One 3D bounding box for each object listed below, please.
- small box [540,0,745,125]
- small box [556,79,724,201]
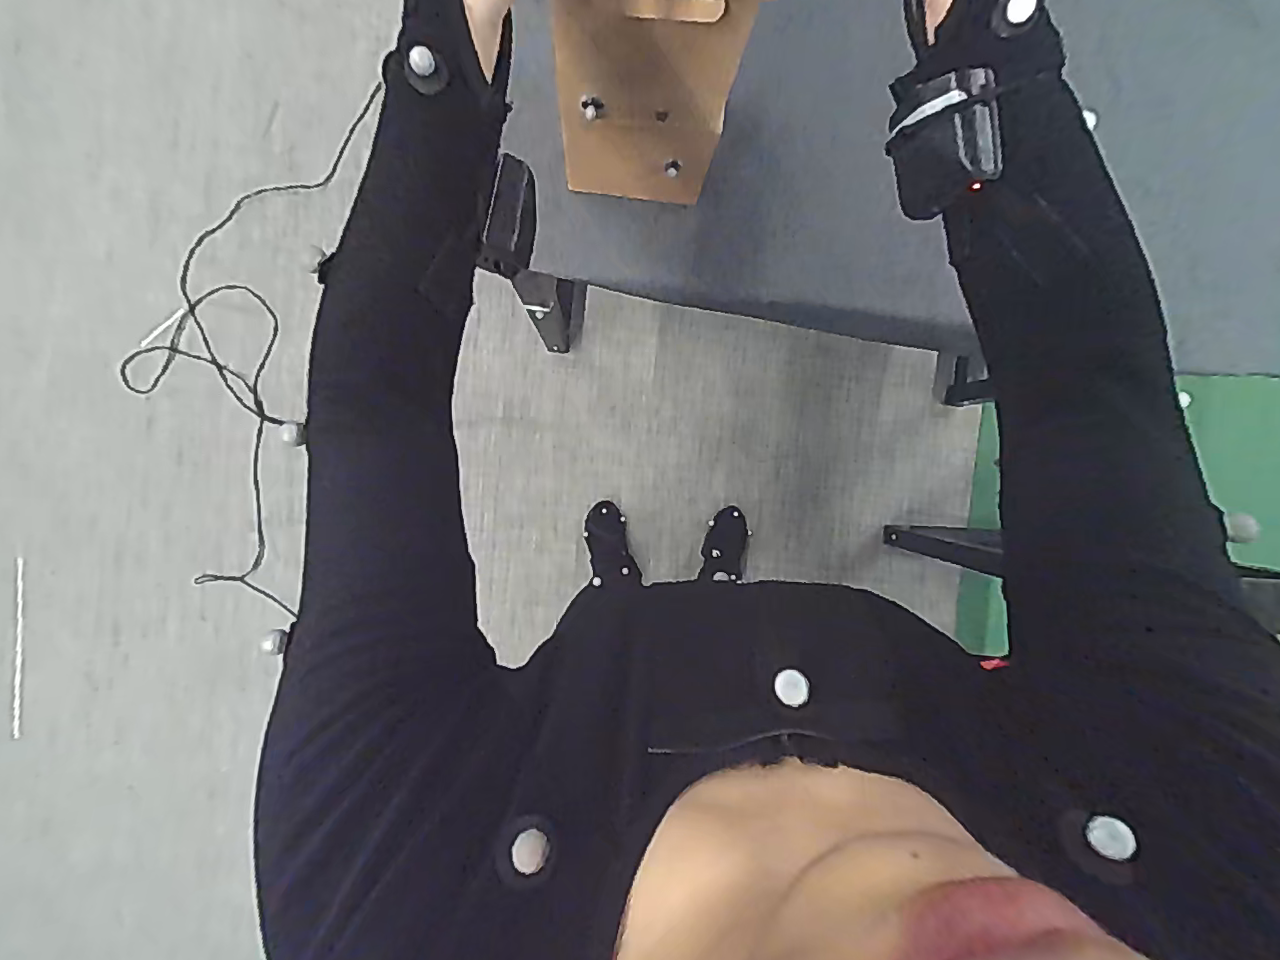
[{"bbox_3d":[0.001,-0.456,0.484,0.168,0.176,0.179,0,90,-5],"label":"small box"},{"bbox_3d":[0.000,-0.460,0.649,0.179,0.176,0.168,4,90,-3],"label":"small box"}]
